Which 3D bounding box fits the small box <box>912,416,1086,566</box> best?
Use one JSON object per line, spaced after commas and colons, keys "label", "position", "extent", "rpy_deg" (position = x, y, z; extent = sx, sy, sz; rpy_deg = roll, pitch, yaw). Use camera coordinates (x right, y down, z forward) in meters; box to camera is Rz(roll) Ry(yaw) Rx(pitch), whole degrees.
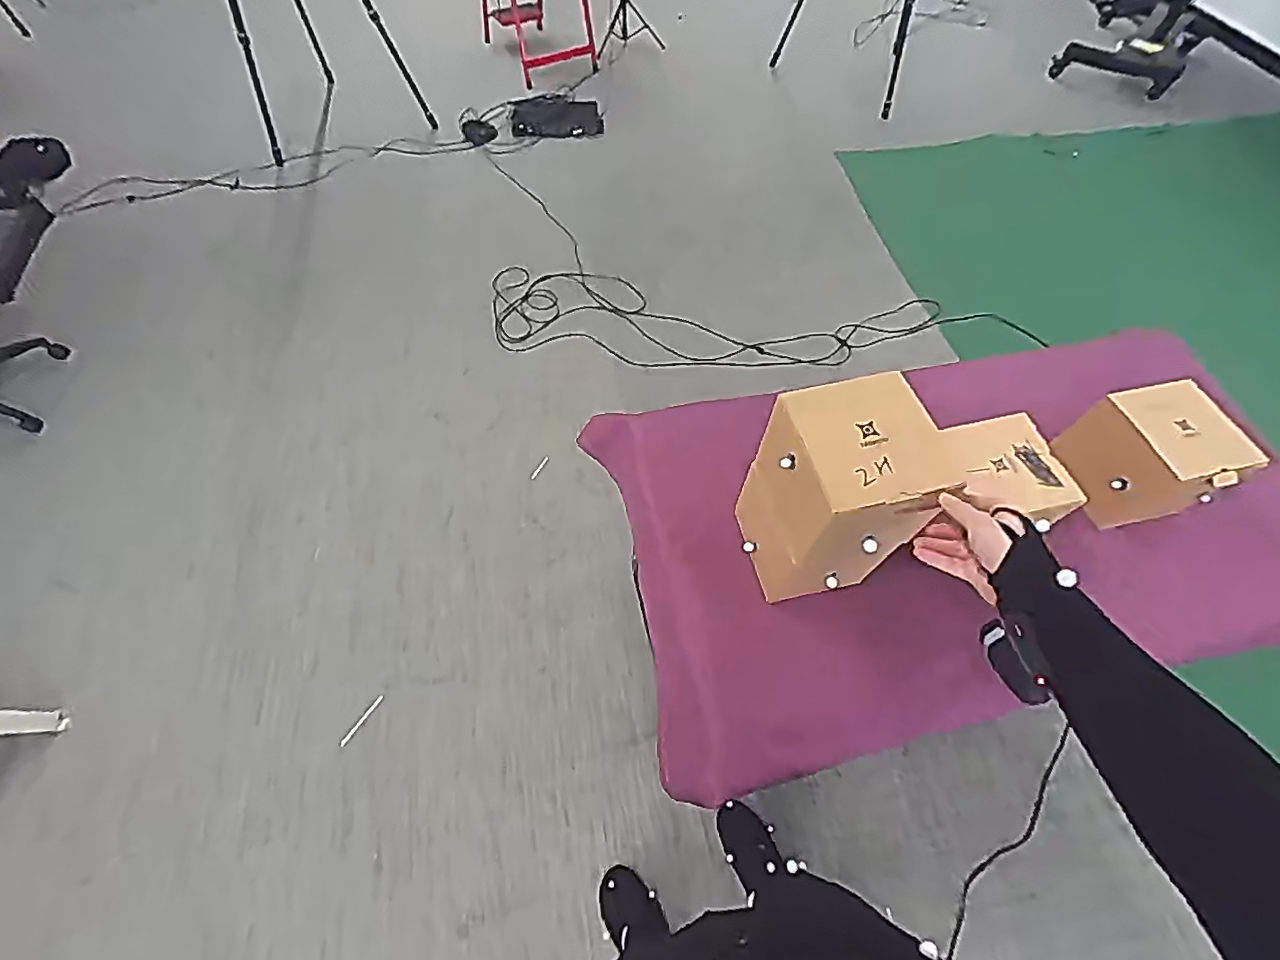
{"label": "small box", "position": [0.549, 0.023, 0.883], "extent": [0.179, 0.176, 0.168], "rpy_deg": [-12, 60, -6]}

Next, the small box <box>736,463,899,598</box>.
{"label": "small box", "position": [0.264, 0.074, 0.849], "extent": [0.168, 0.176, 0.179], "rpy_deg": [-11, 61, -8]}

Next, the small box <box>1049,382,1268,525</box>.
{"label": "small box", "position": [0.861, -0.037, 0.923], "extent": [0.168, 0.176, 0.179], "rpy_deg": [-10, 60, -7]}

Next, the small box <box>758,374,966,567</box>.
{"label": "small box", "position": [0.268, -0.008, 0.706], "extent": [0.168, 0.176, 0.179], "rpy_deg": [-12, 61, -6]}
